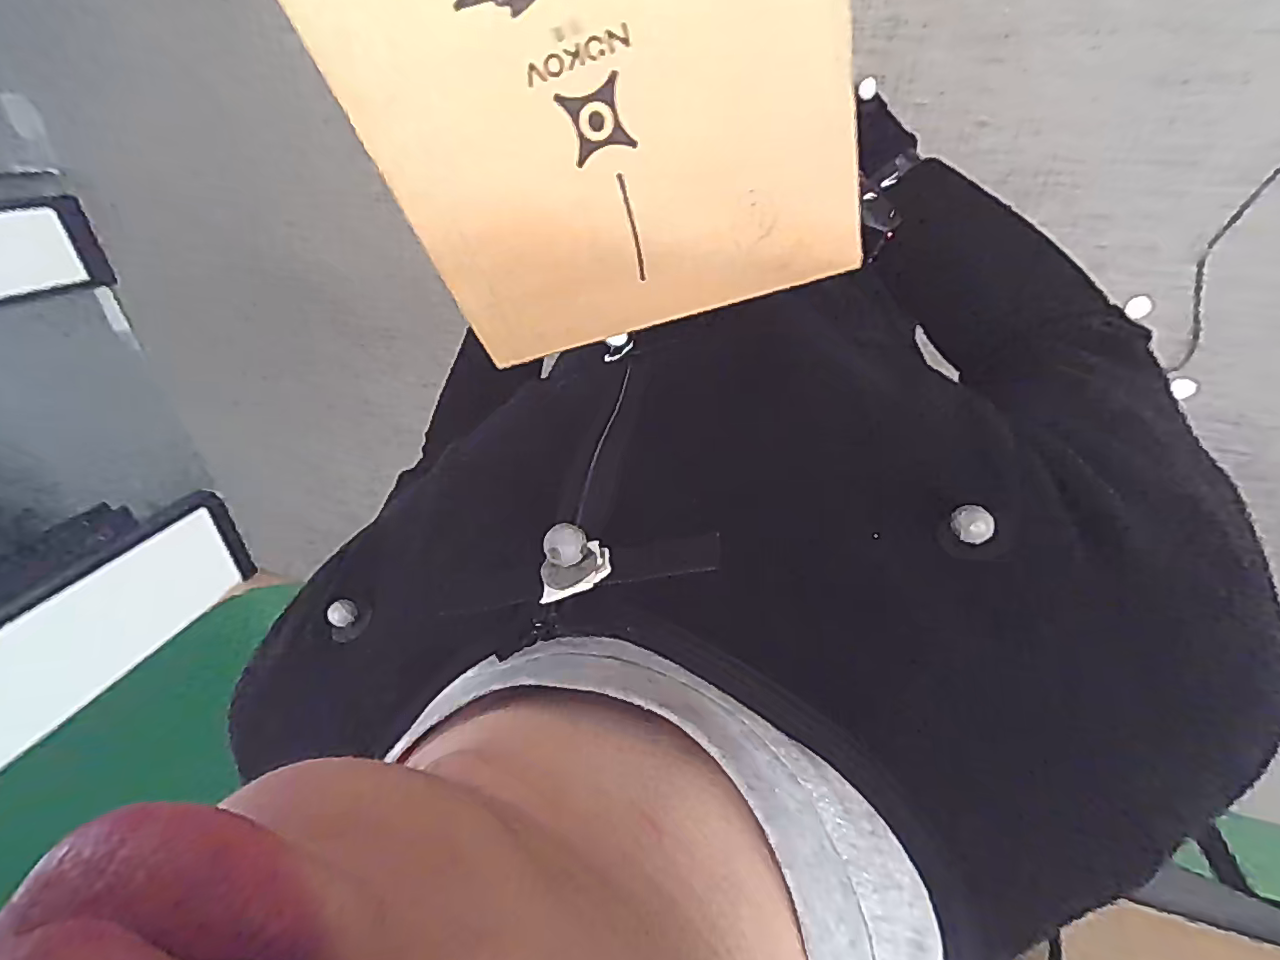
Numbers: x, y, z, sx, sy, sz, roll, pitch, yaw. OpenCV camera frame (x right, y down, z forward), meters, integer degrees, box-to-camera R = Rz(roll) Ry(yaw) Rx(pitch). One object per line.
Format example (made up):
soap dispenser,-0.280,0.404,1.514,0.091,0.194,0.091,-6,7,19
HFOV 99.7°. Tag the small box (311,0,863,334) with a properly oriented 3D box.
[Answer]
small box,-0.013,-0.197,0.234,0.168,0.176,0.179,-12,132,14
